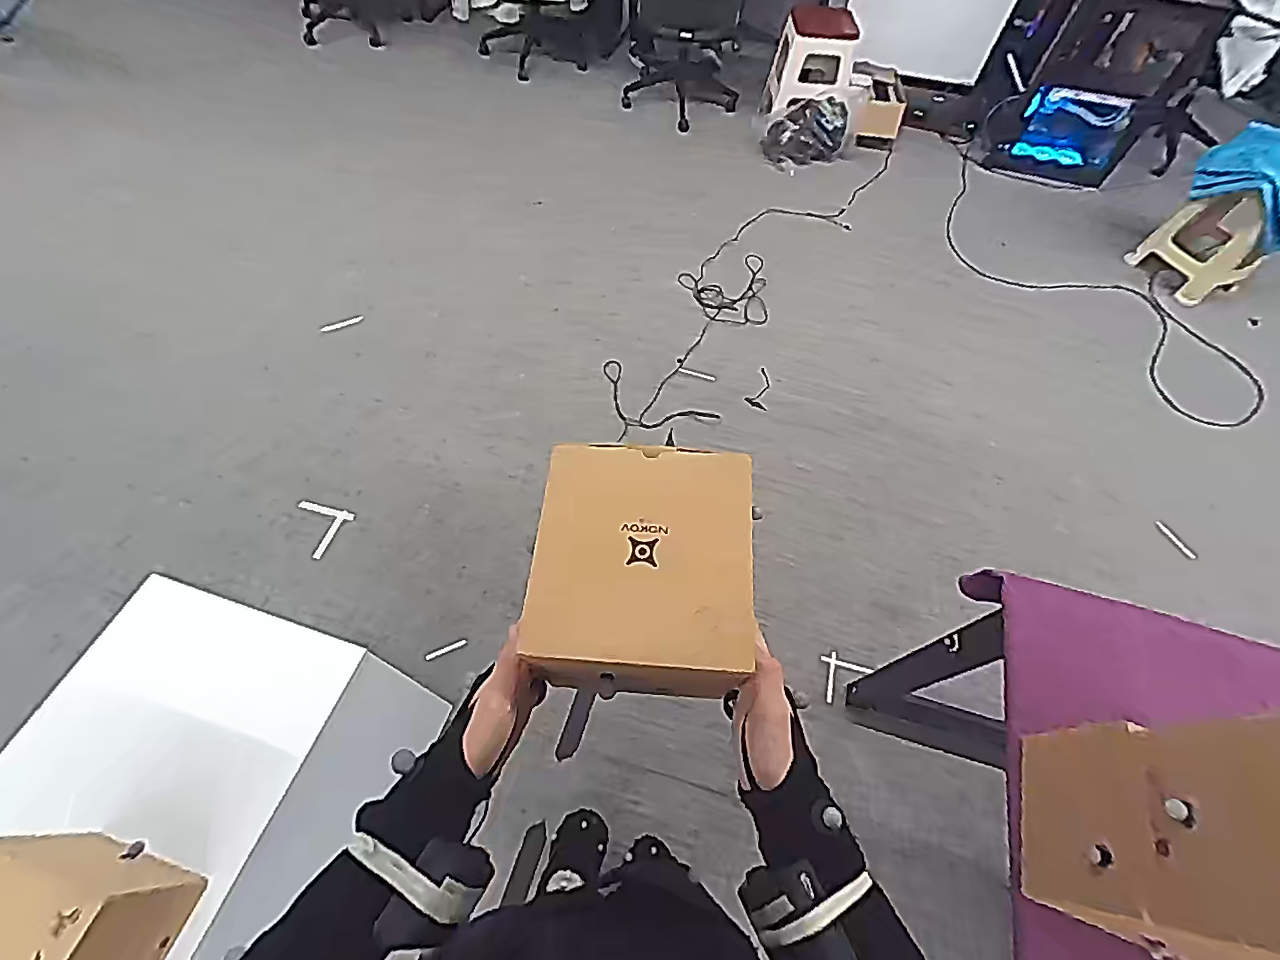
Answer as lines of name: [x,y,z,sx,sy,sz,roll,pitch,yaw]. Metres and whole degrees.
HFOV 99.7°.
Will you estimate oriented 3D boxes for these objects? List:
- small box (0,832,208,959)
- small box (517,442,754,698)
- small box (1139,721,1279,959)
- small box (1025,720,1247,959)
small box: [-0.643,0.505,0.587,0.179,0.176,0.168,16,59,7]
small box: [0.004,0.086,0.473,0.168,0.176,0.179,3,60,2]
small box: [0.555,0.301,0.422,0.179,0.176,0.168,18,60,9]
small box: [0.540,0.380,0.566,0.168,0.176,0.179,19,60,8]
